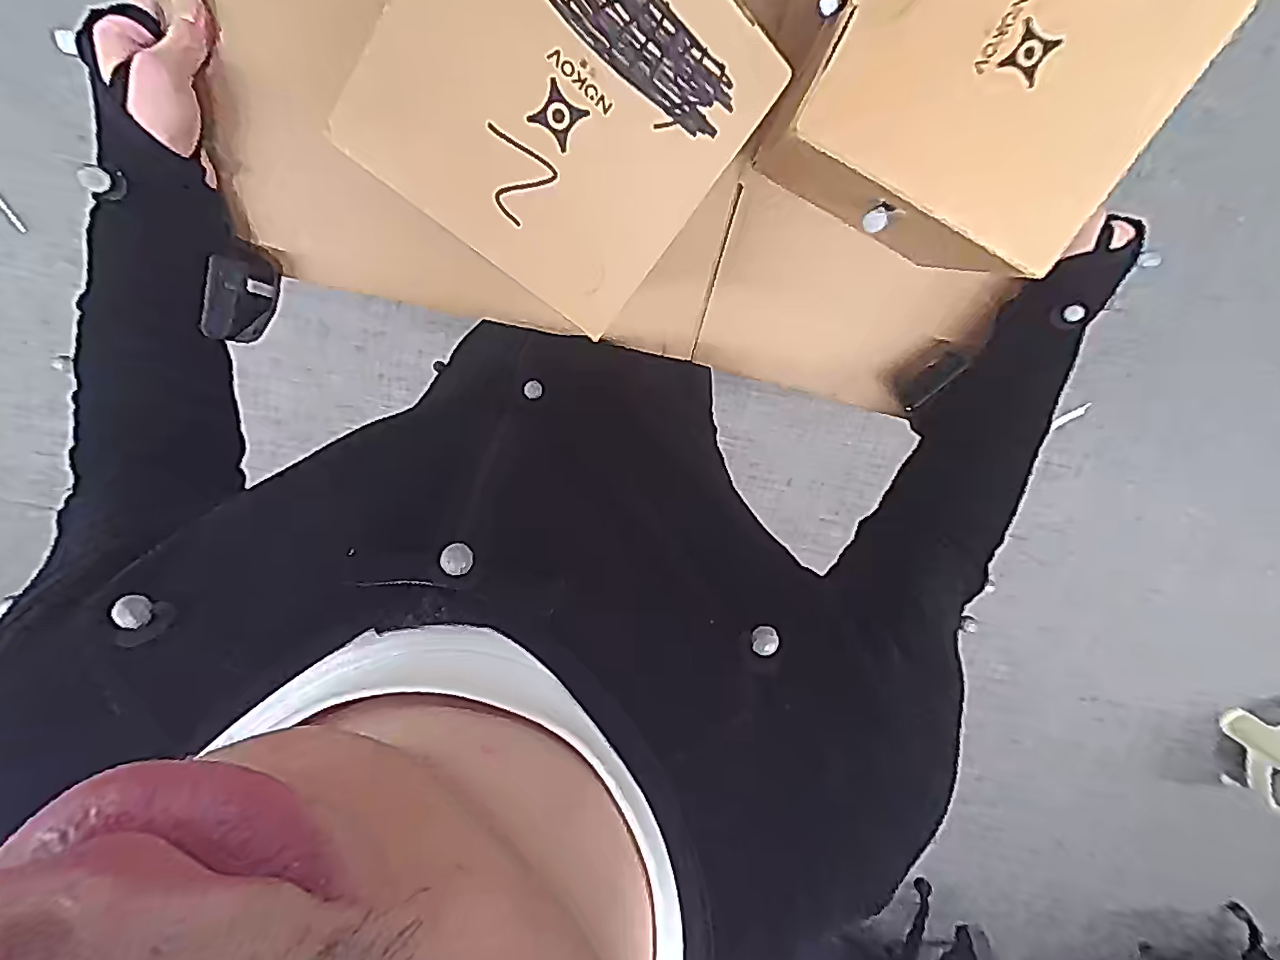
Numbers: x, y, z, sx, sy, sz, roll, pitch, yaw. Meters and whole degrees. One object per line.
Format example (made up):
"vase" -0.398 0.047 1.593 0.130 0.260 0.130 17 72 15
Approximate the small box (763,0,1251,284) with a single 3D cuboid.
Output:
"small box" 0.205 -0.255 0.364 0.179 0.176 0.168 26 113 -6
